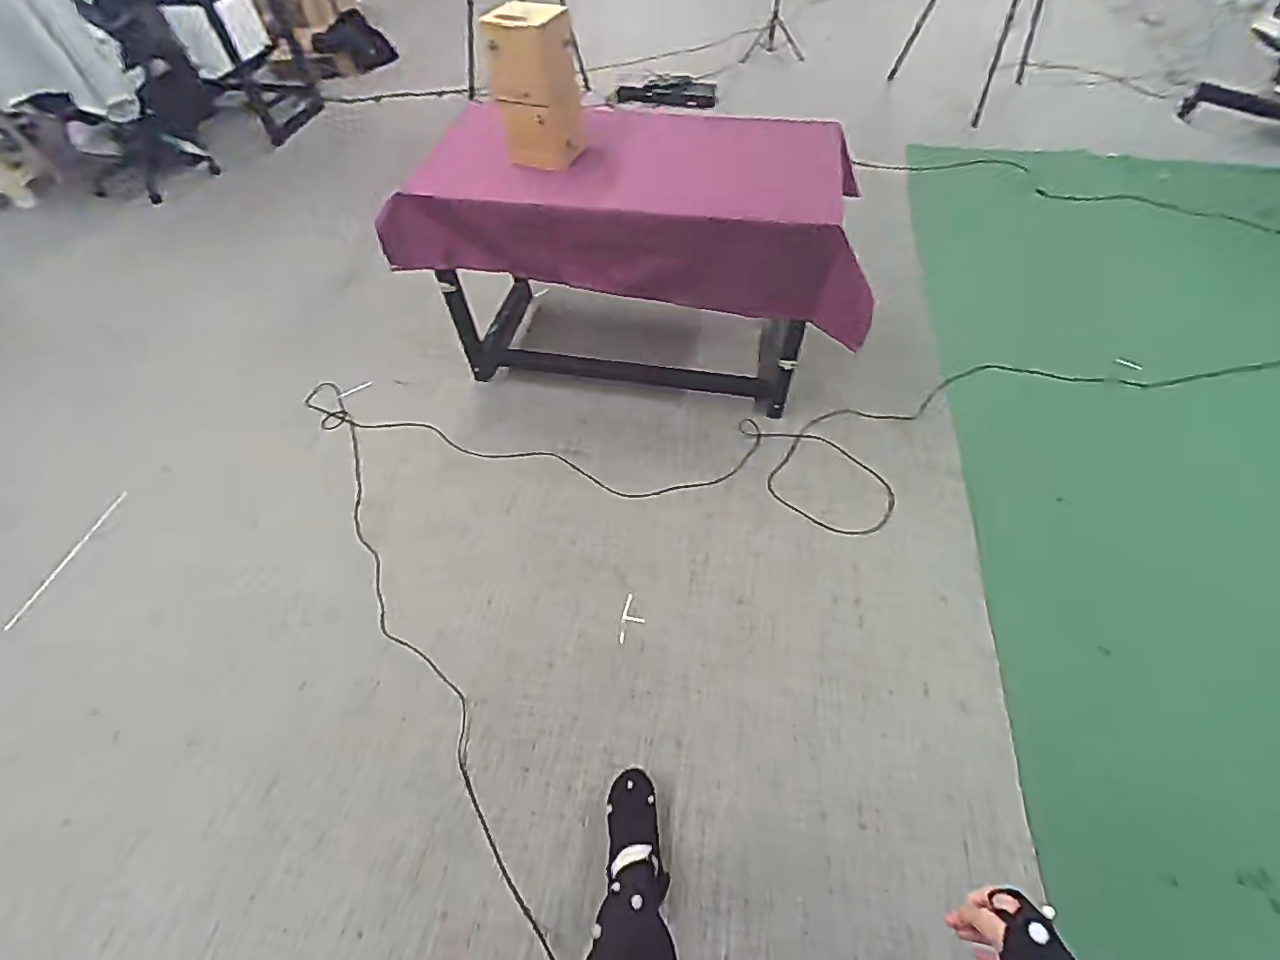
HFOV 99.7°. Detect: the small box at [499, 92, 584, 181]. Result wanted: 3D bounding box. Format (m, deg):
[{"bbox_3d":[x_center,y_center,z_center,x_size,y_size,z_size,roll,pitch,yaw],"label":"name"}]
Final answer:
[{"bbox_3d":[-0.279,-0.997,1.573,0.179,0.176,0.168,18,56,14],"label":"small box"}]
